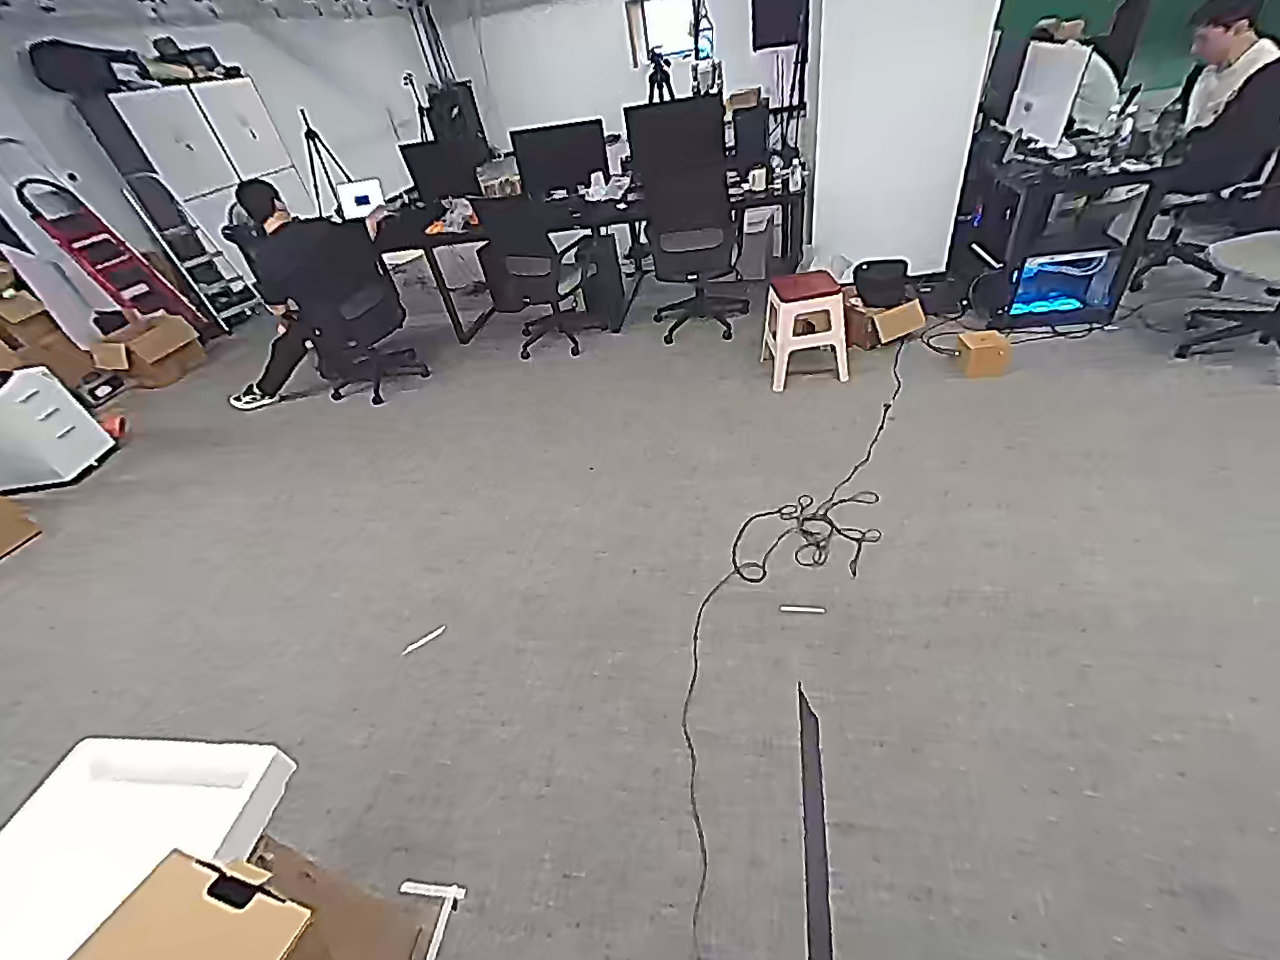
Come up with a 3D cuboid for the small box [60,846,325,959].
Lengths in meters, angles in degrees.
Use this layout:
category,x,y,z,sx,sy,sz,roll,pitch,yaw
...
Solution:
category,x,y,z,sx,sy,sz,roll,pitch,yaw
small box,-0.411,0.483,0.481,0.168,0.176,0.179,16,32,10
